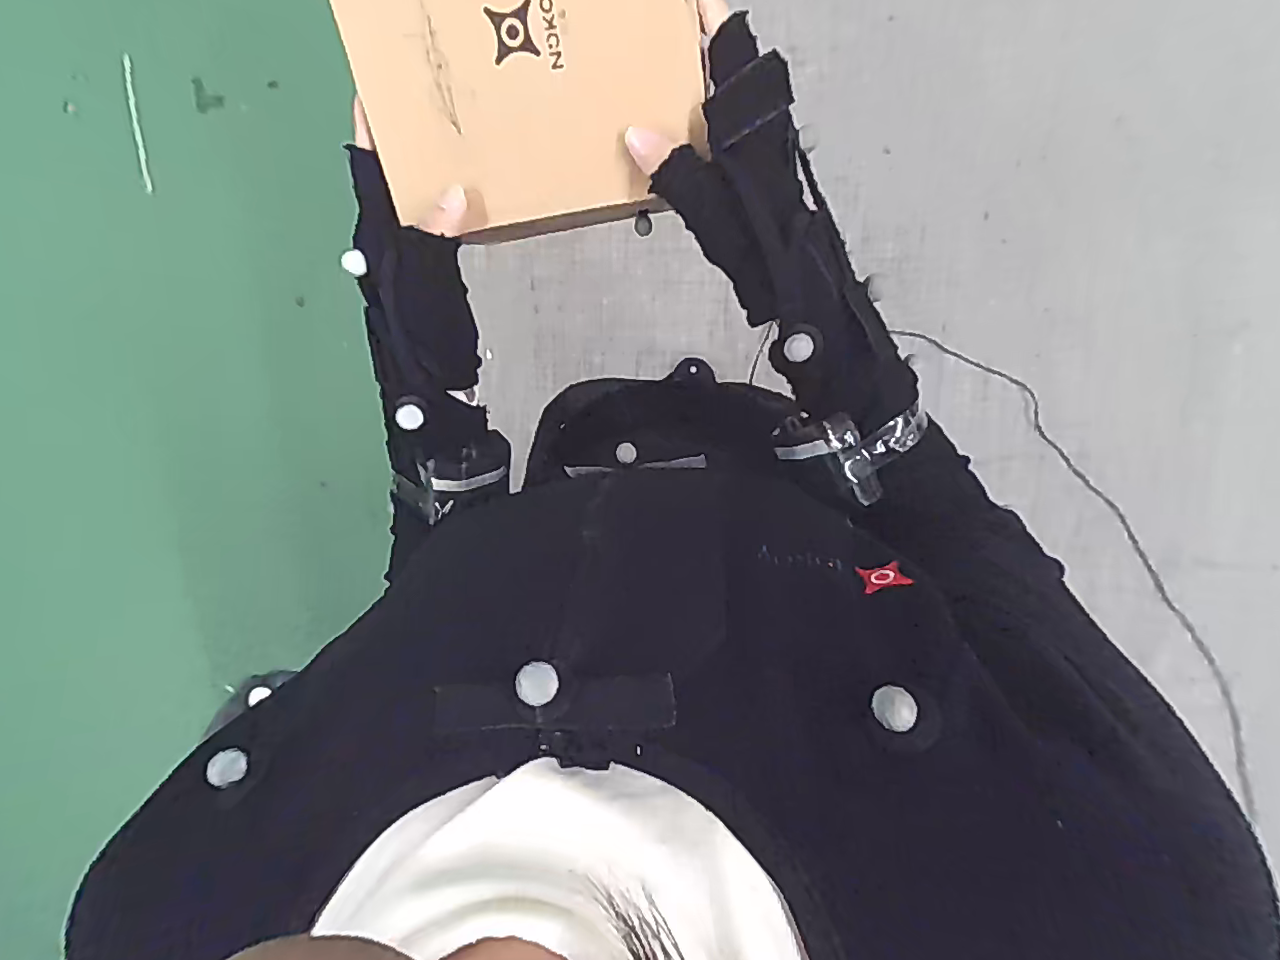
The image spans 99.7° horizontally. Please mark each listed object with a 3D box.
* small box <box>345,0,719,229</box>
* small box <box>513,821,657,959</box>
[{"bbox_3d":[-0.053,-0.261,0.336,0.179,0.176,0.168,-8,112,7],"label":"small box"},{"bbox_3d":[-0.067,0.617,0.761,0.168,0.176,0.179,-2,102,7],"label":"small box"}]
